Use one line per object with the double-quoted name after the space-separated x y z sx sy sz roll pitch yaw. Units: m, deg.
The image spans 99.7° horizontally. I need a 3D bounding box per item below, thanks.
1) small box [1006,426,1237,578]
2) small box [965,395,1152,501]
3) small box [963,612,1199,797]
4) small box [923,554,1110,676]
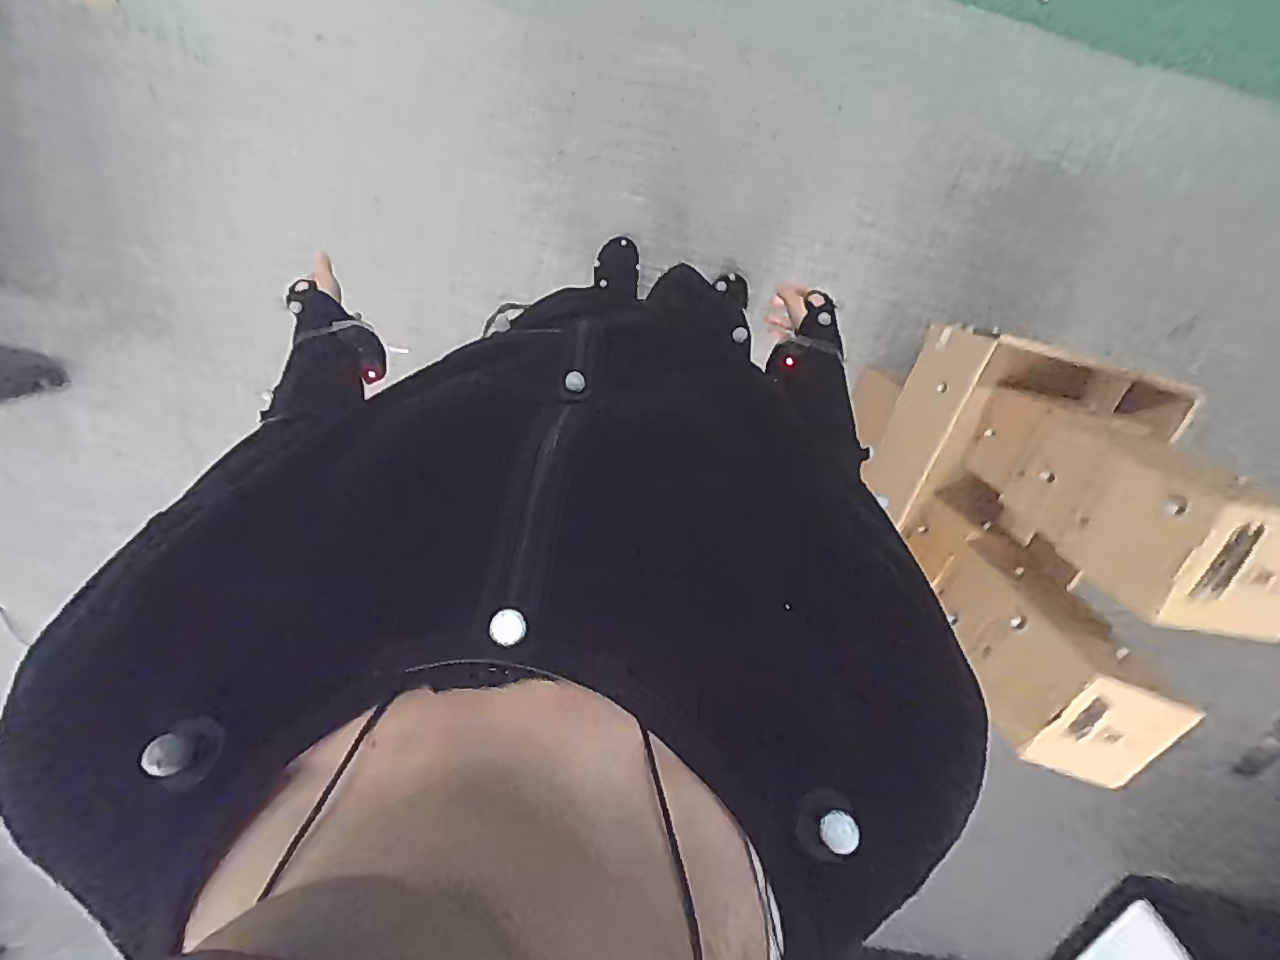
0.728 0.026 0.847 0.179 0.176 0.168 11 115 -2 "small box"
0.750 -0.047 0.993 0.179 0.176 0.168 11 114 -3 "small box"
0.635 0.325 0.808 0.179 0.176 0.168 22 114 -8 "small box"
0.645 0.254 0.956 0.179 0.176 0.168 19 114 -6 "small box"
